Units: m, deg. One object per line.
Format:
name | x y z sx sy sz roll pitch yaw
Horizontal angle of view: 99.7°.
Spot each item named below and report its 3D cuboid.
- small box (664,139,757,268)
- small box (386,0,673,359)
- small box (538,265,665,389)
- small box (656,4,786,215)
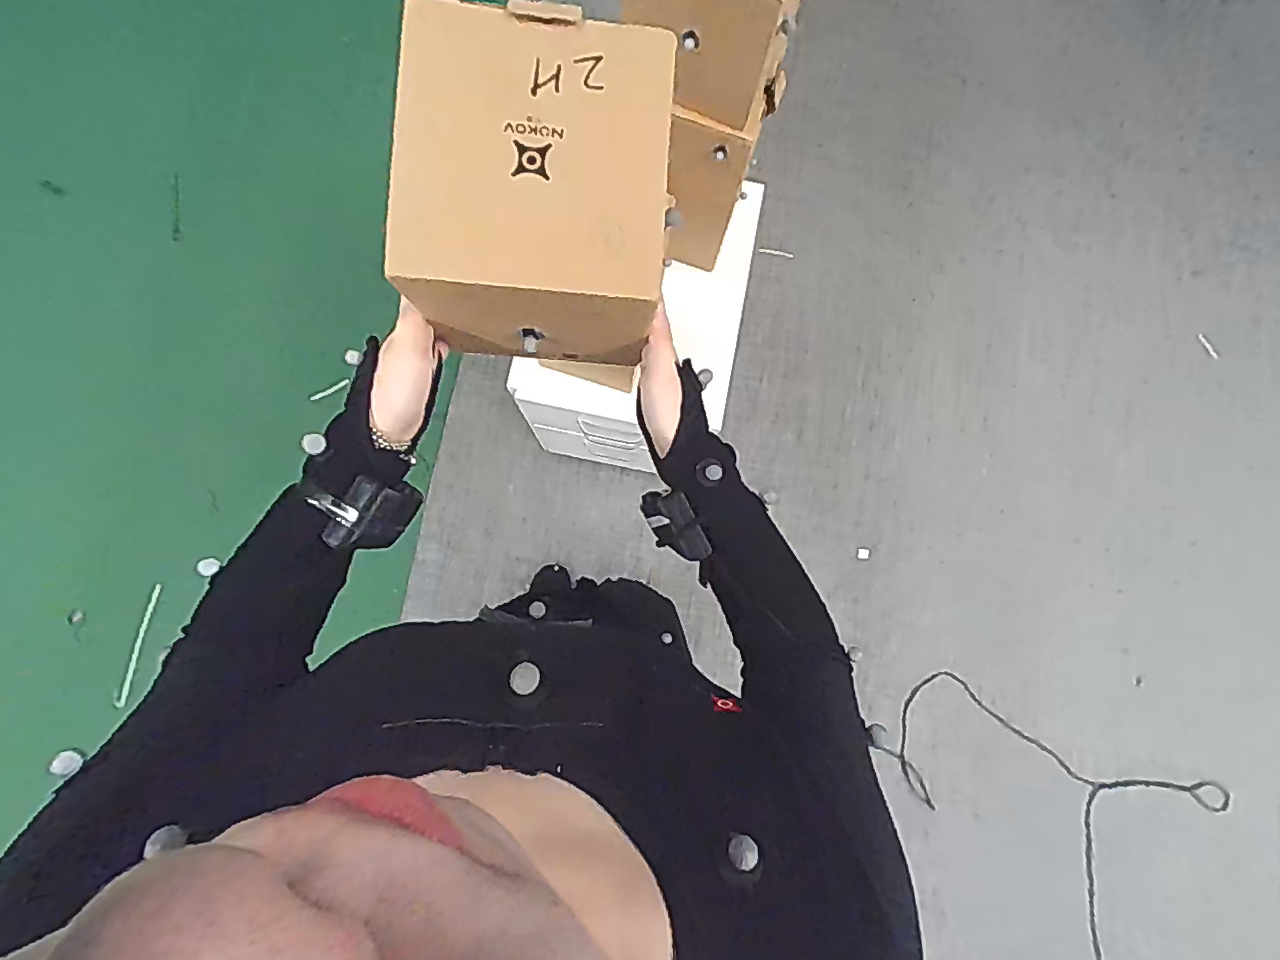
small box | 0.083 -0.505 0.954 0.179 0.176 0.168 19 81 0
small box | -0.073 -0.200 0.410 0.168 0.176 0.179 4 87 -6
small box | -0.072 -0.271 0.908 0.179 0.176 0.168 18 80 -2
small box | 0.086 -0.527 0.793 0.179 0.176 0.168 18 81 -1
